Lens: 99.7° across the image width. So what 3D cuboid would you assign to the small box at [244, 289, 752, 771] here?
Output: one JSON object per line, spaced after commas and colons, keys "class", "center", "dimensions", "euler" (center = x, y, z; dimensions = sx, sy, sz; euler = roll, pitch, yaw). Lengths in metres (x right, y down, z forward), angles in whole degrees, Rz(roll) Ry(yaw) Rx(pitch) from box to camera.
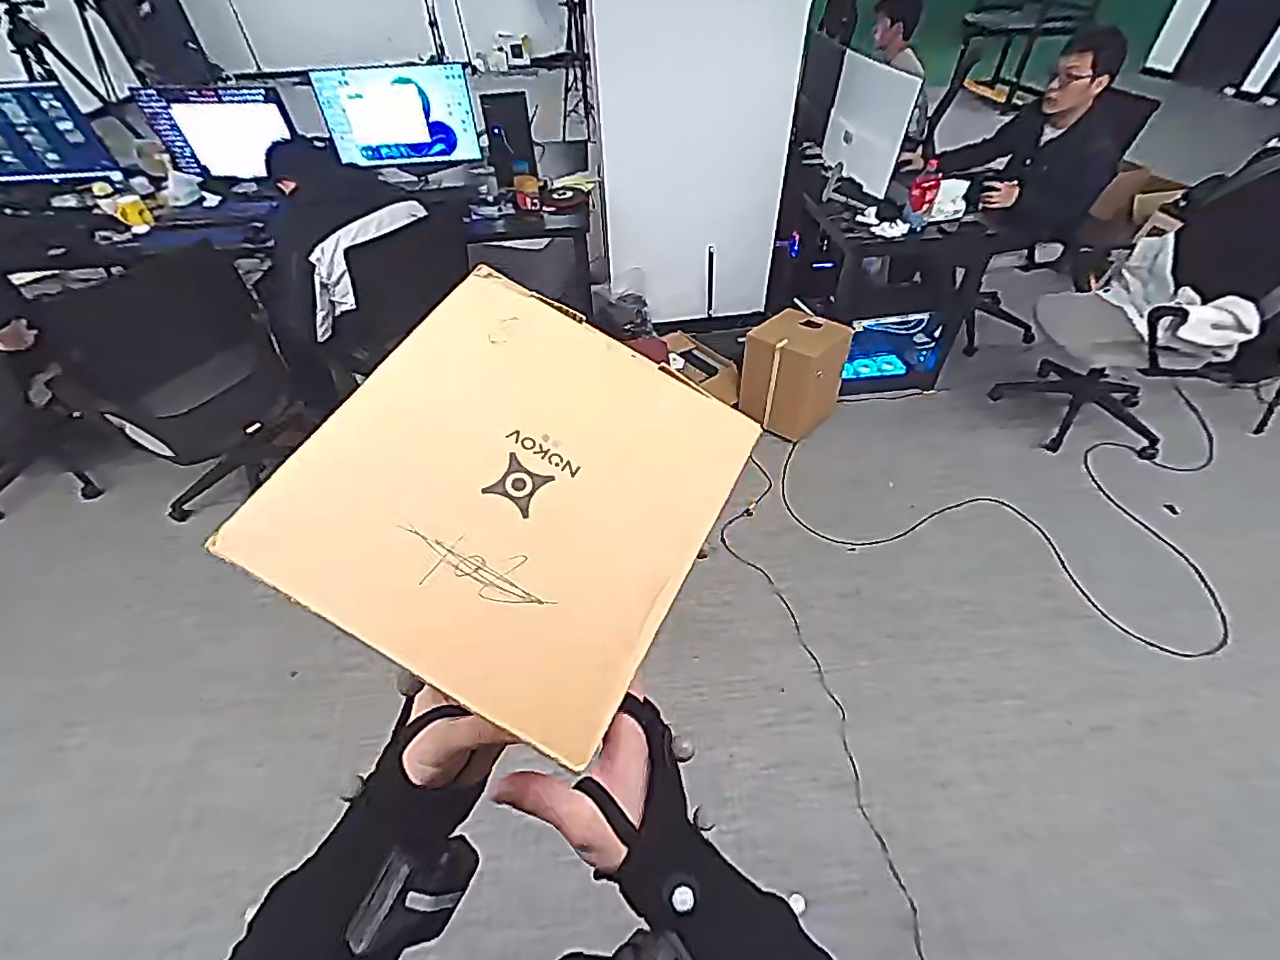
{"class": "small box", "center": [-0.065, 0.035, 0.319], "dimensions": [0.168, 0.176, 0.179], "euler": [30, 66, 2]}
